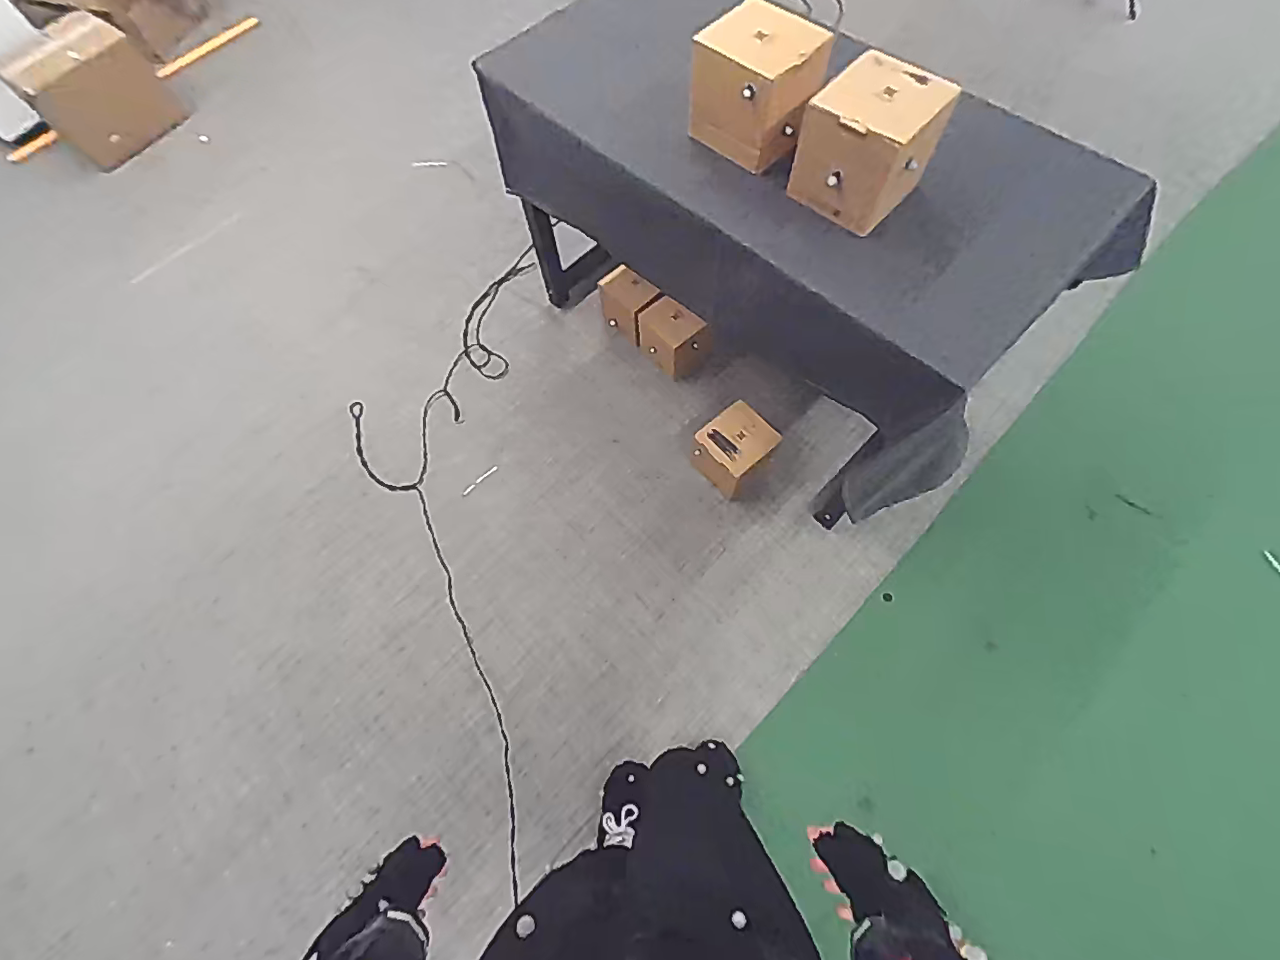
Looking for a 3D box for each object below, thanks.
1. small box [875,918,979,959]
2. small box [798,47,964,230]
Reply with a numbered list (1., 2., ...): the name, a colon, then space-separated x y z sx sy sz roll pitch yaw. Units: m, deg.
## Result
1. small box: 0.580 0.985 1.017 0.168 0.176 0.179 -32 68 -12
2. small box: 0.383 -0.558 0.899 0.168 0.176 0.179 40 74 17
